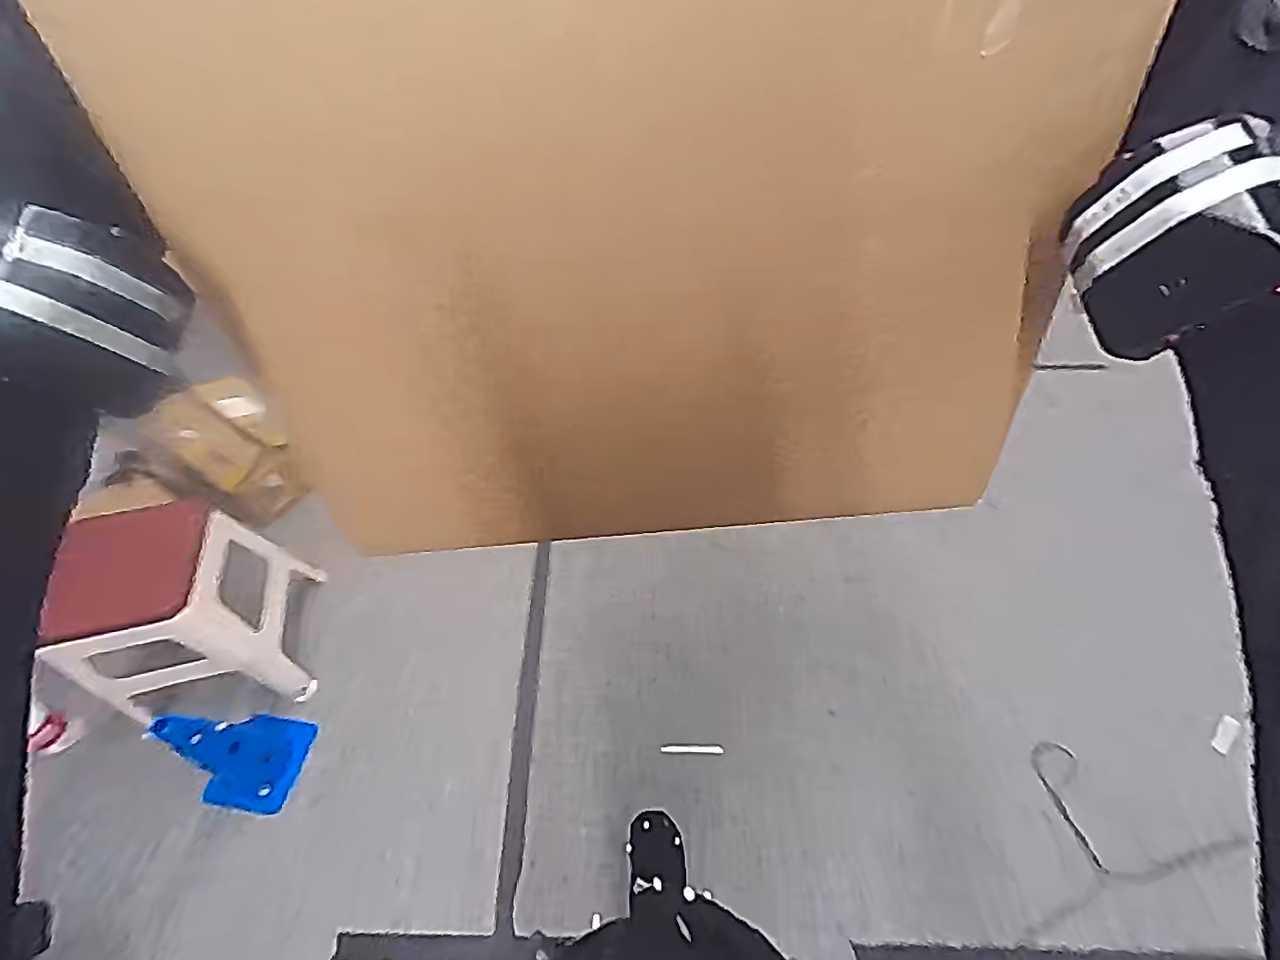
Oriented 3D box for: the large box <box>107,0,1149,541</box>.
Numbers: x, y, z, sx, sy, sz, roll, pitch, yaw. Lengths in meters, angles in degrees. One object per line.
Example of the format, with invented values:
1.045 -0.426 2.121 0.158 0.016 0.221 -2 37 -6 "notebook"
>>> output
0.003 -0.181 0.386 0.408 0.320 0.320 -4 38 2 "large box"
